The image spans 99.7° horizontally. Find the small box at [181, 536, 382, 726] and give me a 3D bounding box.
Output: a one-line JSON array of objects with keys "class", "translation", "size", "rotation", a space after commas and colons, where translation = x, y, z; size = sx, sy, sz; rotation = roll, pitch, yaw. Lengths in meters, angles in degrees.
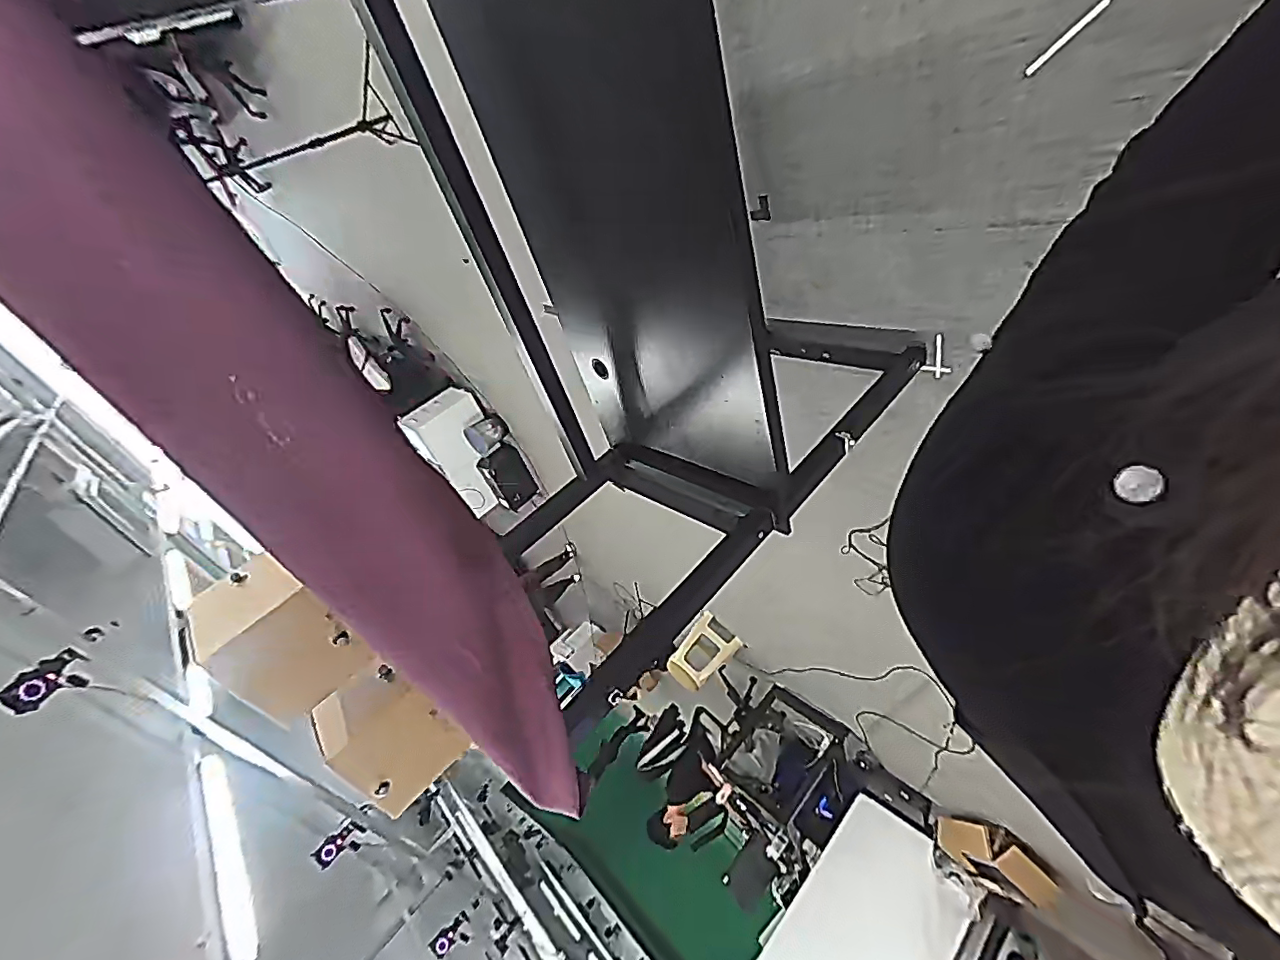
[{"class": "small box", "translation": [-0.511, 0.206, 0.785], "size": [0.179, 0.176, 0.168], "rotation": [22, 146, 44]}]

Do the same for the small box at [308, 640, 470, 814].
[{"class": "small box", "translation": [-0.414, 0.398, 0.905], "size": [0.179, 0.176, 0.168], "rotation": [16, 141, 51]}]
